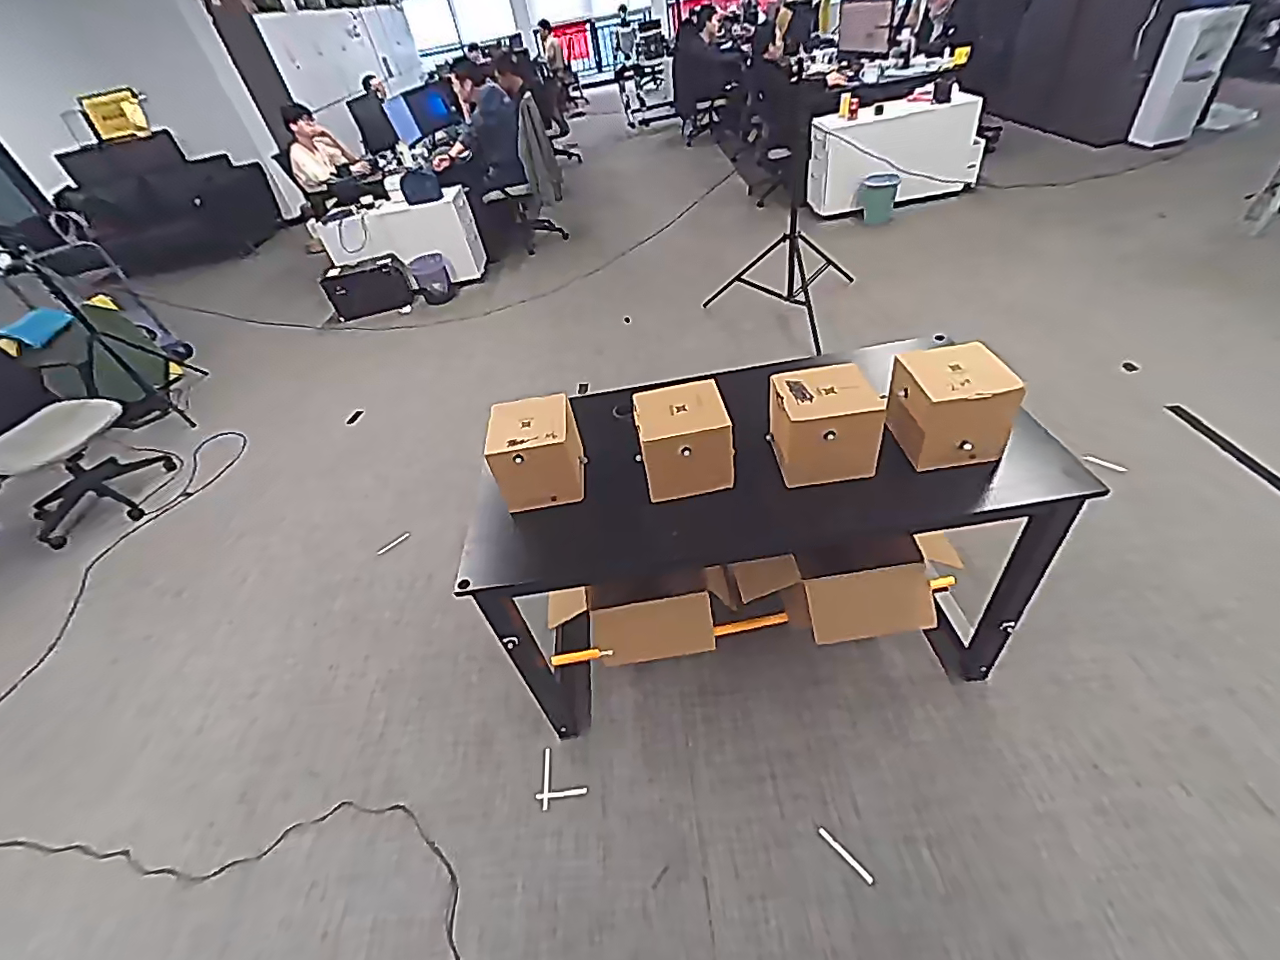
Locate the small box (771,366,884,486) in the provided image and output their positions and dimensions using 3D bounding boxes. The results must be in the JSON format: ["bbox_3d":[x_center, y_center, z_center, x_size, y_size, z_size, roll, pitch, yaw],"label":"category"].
[{"bbox_3d":[0.365,-0.104,1.084,0.179,0.176,0.168,-7,42,5],"label":"small box"}]

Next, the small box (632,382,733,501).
[{"bbox_3d":[0.089,-0.076,1.121,0.179,0.176,0.168,-10,43,0],"label":"small box"}]

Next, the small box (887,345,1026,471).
[{"bbox_3d":[0.607,-0.141,1.067,0.168,0.176,0.179,-9,42,5],"label":"small box"}]

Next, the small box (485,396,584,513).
[{"bbox_3d":[-0.218,-0.055,1.164,0.168,0.176,0.179,-9,42,2],"label":"small box"}]
